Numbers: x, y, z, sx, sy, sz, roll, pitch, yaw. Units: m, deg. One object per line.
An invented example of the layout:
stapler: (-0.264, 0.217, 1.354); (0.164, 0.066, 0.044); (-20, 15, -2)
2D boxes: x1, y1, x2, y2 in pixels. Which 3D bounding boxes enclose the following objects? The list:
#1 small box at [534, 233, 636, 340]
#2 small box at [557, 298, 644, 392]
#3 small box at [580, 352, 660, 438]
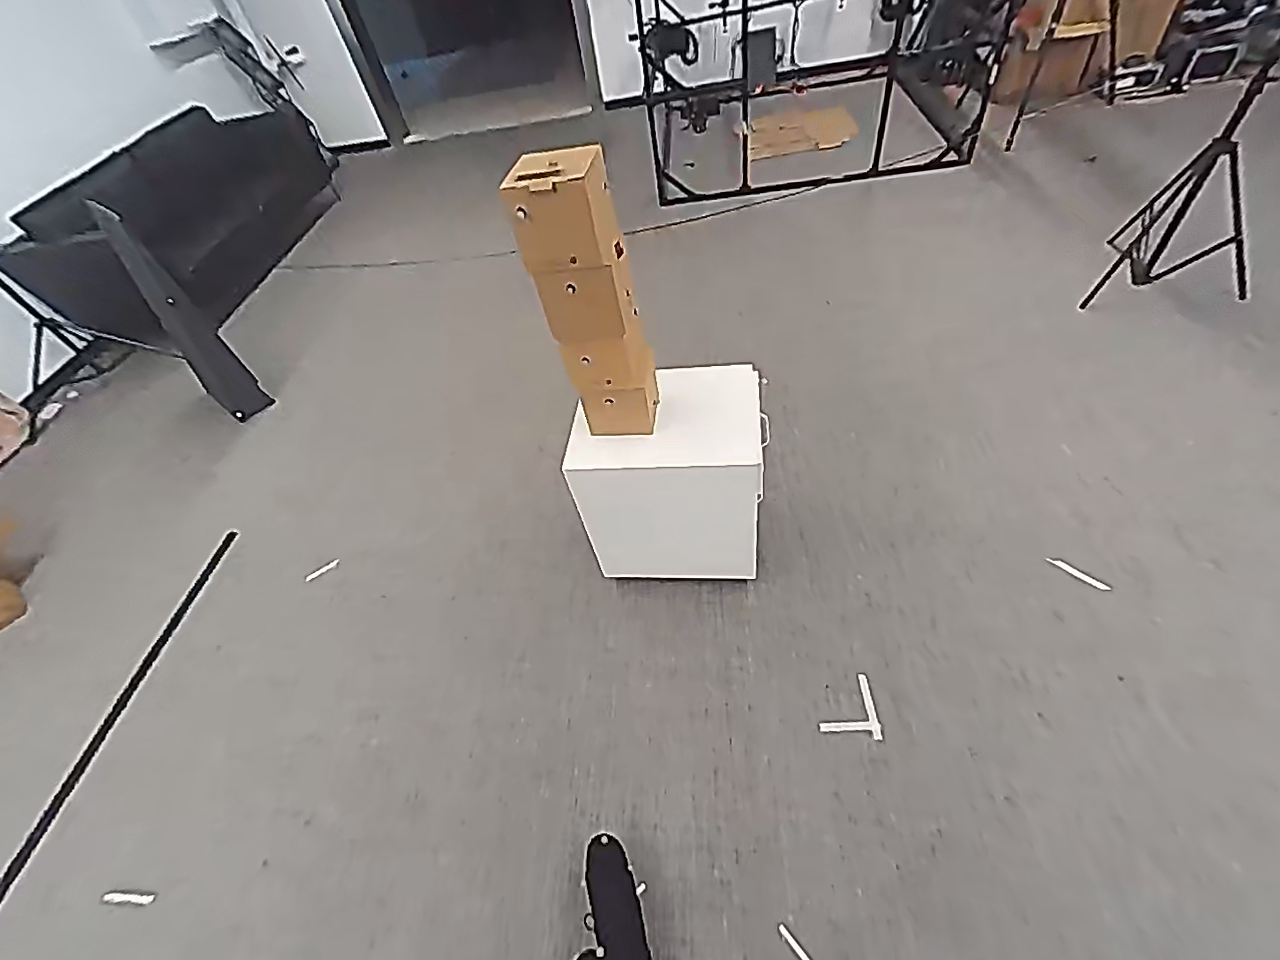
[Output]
small box: (-0.115, -0.430, 1.216); (0.179, 0.176, 0.168); (-1, 50, 10)
small box: (-0.089, -0.333, 1.348); (0.168, 0.176, 0.179); (1, 49, 12)
small box: (-0.048, -0.228, 1.466); (0.179, 0.176, 0.168); (1, 50, 10)
